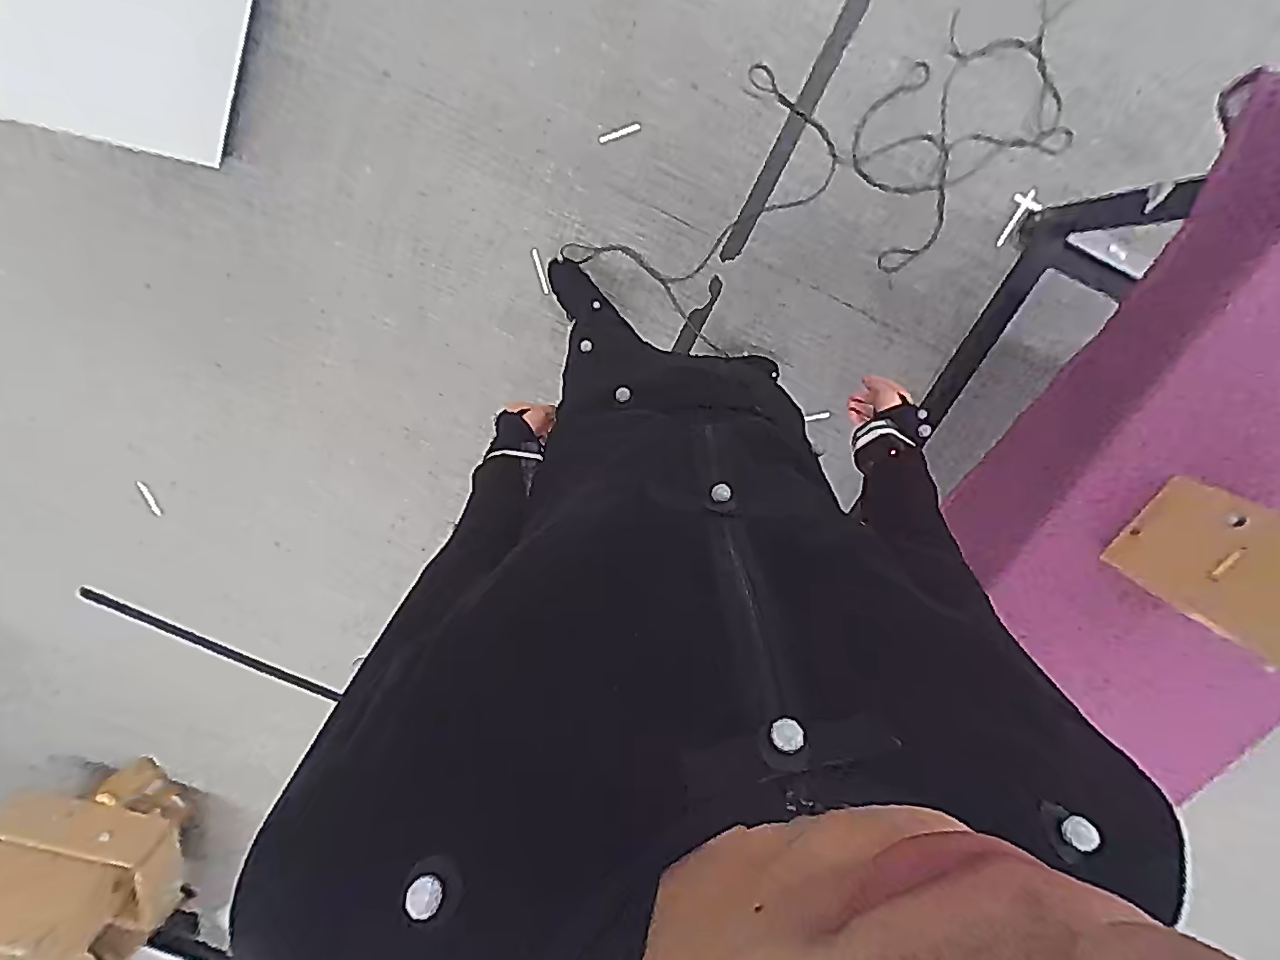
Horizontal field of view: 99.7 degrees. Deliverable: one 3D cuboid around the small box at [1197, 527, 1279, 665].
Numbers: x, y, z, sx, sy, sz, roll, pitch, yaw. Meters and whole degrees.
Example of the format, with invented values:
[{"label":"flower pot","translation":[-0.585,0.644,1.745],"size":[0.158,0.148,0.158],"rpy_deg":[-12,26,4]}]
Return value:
[{"label":"small box","translation":[0.842,0.165,0.632],"size":[0.168,0.176,0.179],"rpy_deg":[27,110,-5]}]
